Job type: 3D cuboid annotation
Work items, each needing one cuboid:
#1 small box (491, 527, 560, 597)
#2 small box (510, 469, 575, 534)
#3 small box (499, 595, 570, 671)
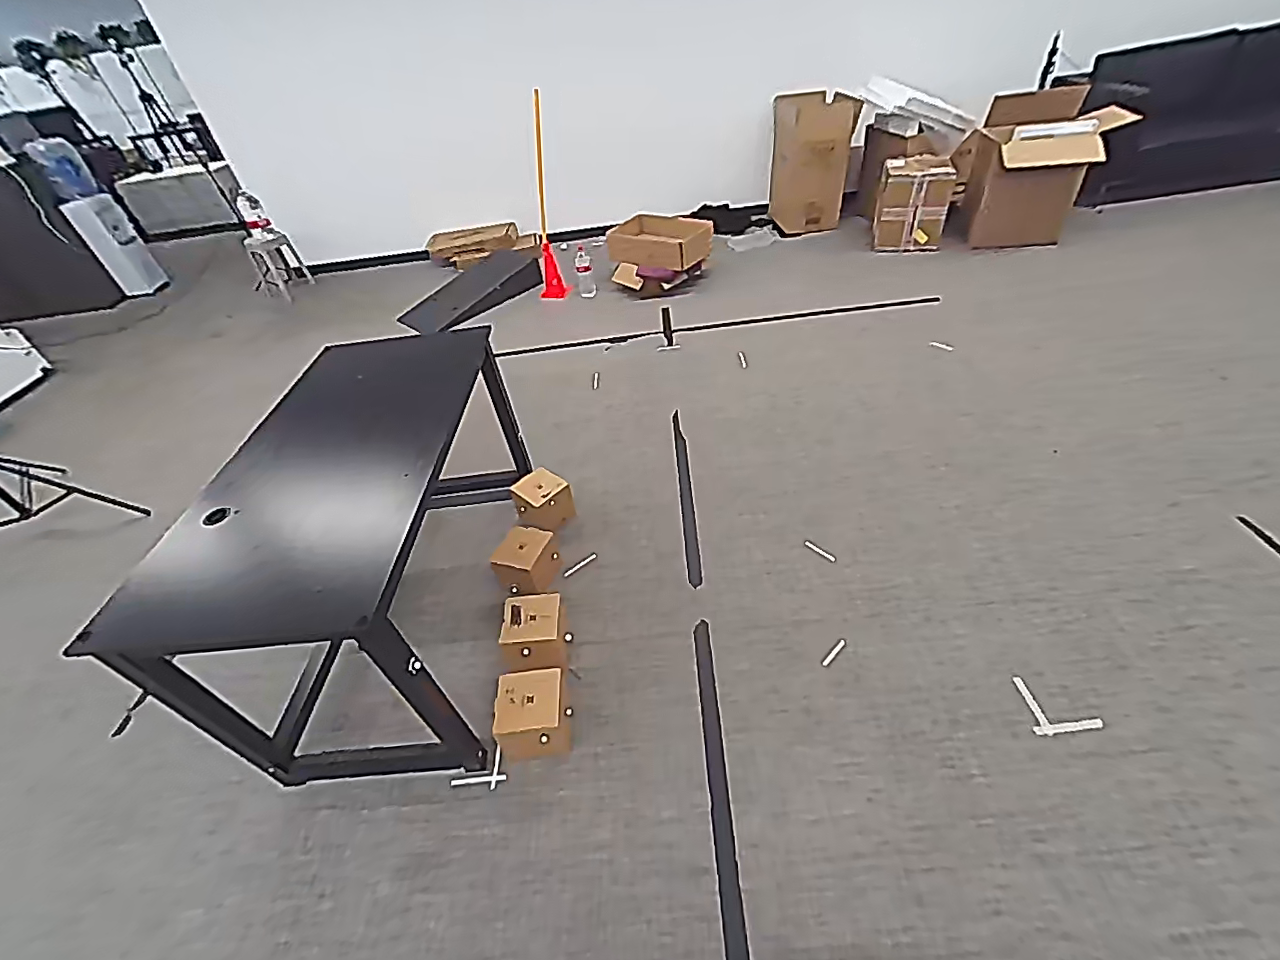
[{"bbox_3d":[-0.398,0.295,1.923,0.168,0.176,0.179,8,45,19],"label":"small box"},{"bbox_3d":[-0.383,0.089,2.145,0.179,0.176,0.168,27,53,34],"label":"small box"},{"bbox_3d":[-0.325,0.484,1.699,0.179,0.176,0.168,-6,42,2],"label":"small box"}]
